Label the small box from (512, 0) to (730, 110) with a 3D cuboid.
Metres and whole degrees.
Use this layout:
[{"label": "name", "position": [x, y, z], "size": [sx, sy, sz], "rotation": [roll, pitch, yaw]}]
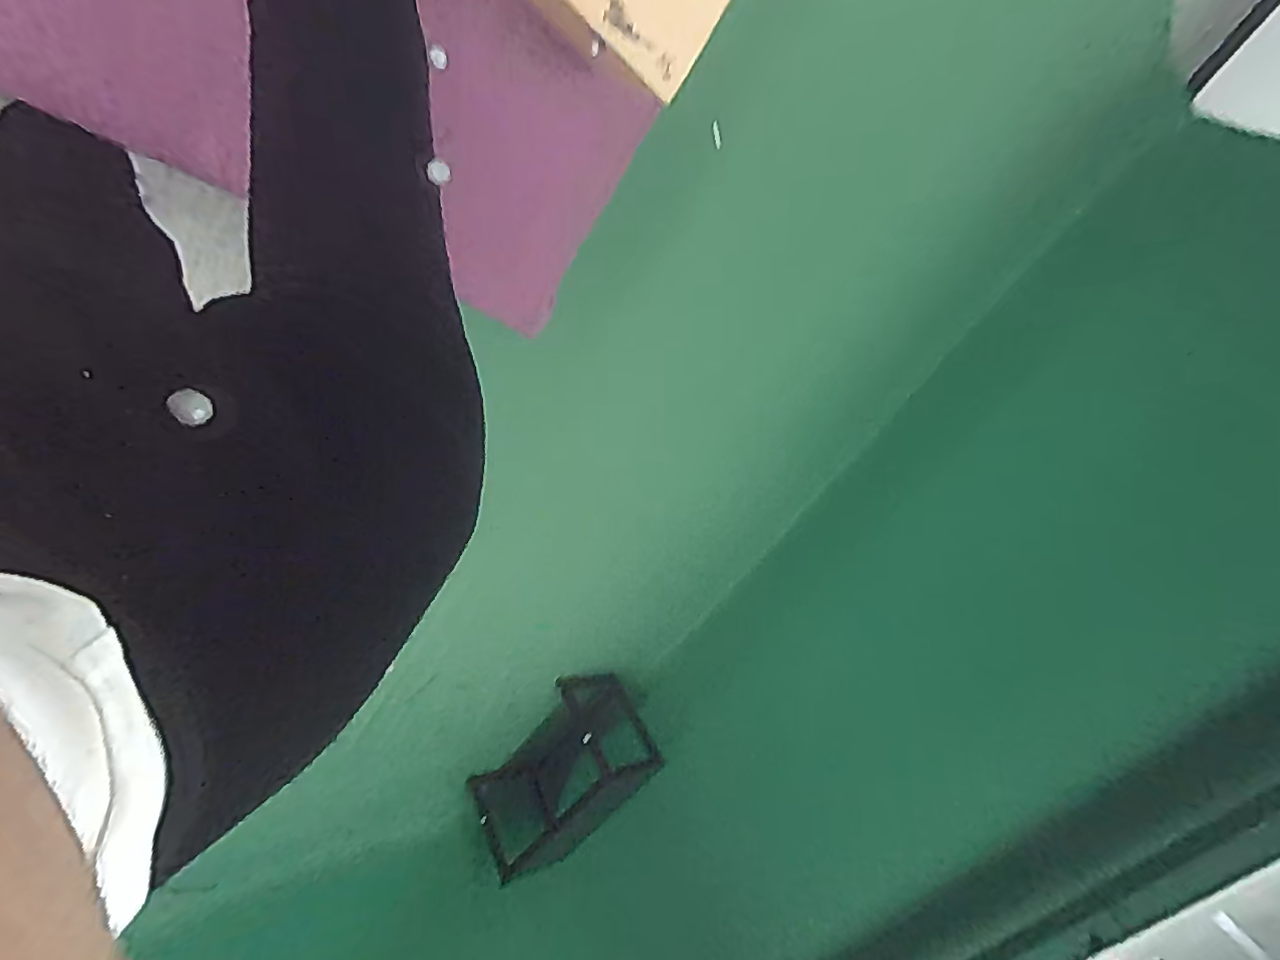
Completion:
[{"label": "small box", "position": [-0.018, -0.559, 0.590], "size": [0.168, 0.176, 0.179], "rotation": [13, 120, -47]}]
